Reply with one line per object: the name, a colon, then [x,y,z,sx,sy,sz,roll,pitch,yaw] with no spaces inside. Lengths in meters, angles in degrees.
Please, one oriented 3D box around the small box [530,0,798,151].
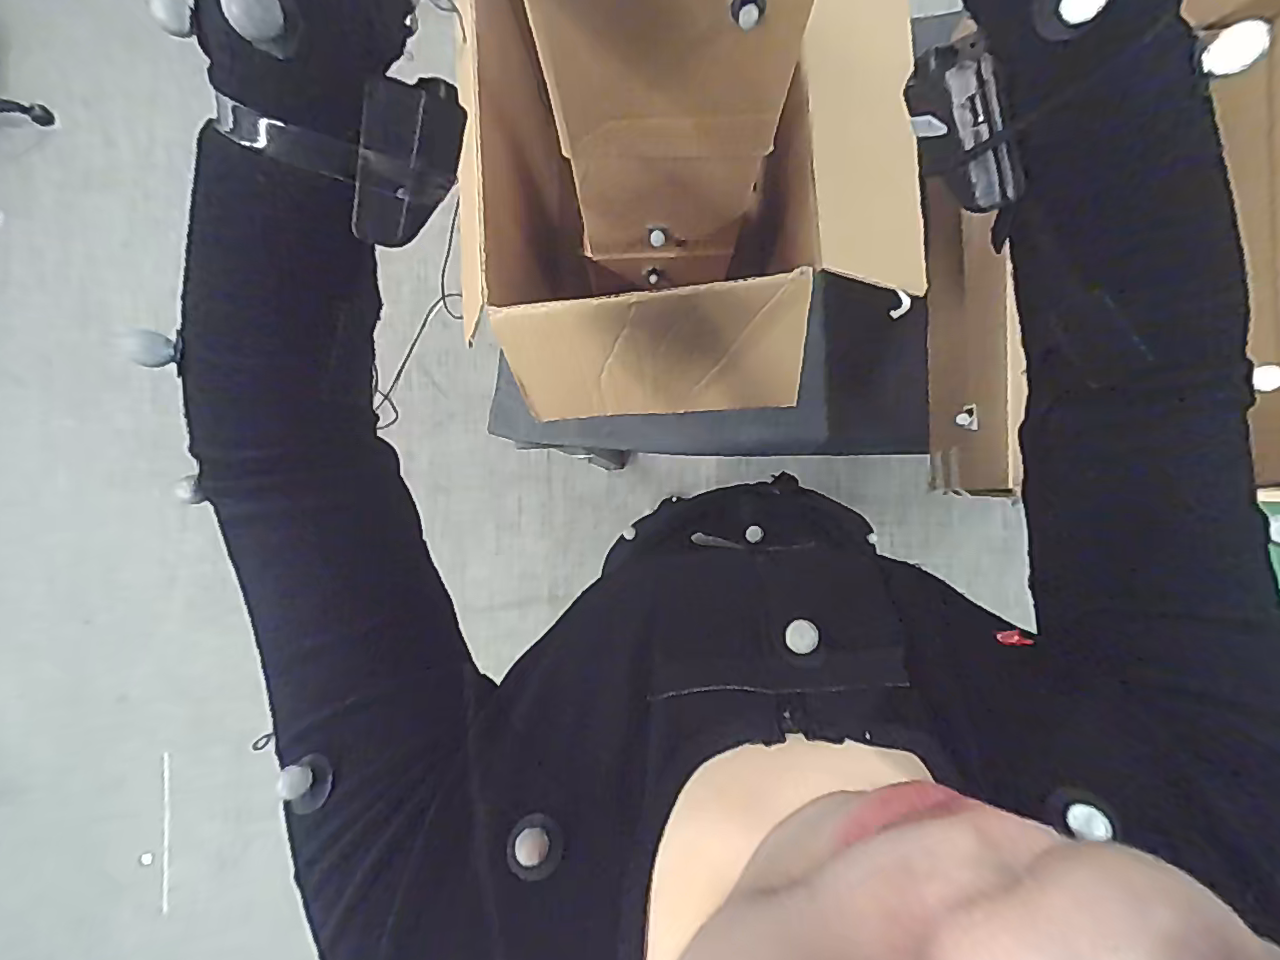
small box: [0.015,-0.362,0.381,0.179,0.176,0.168,0,86,0]
